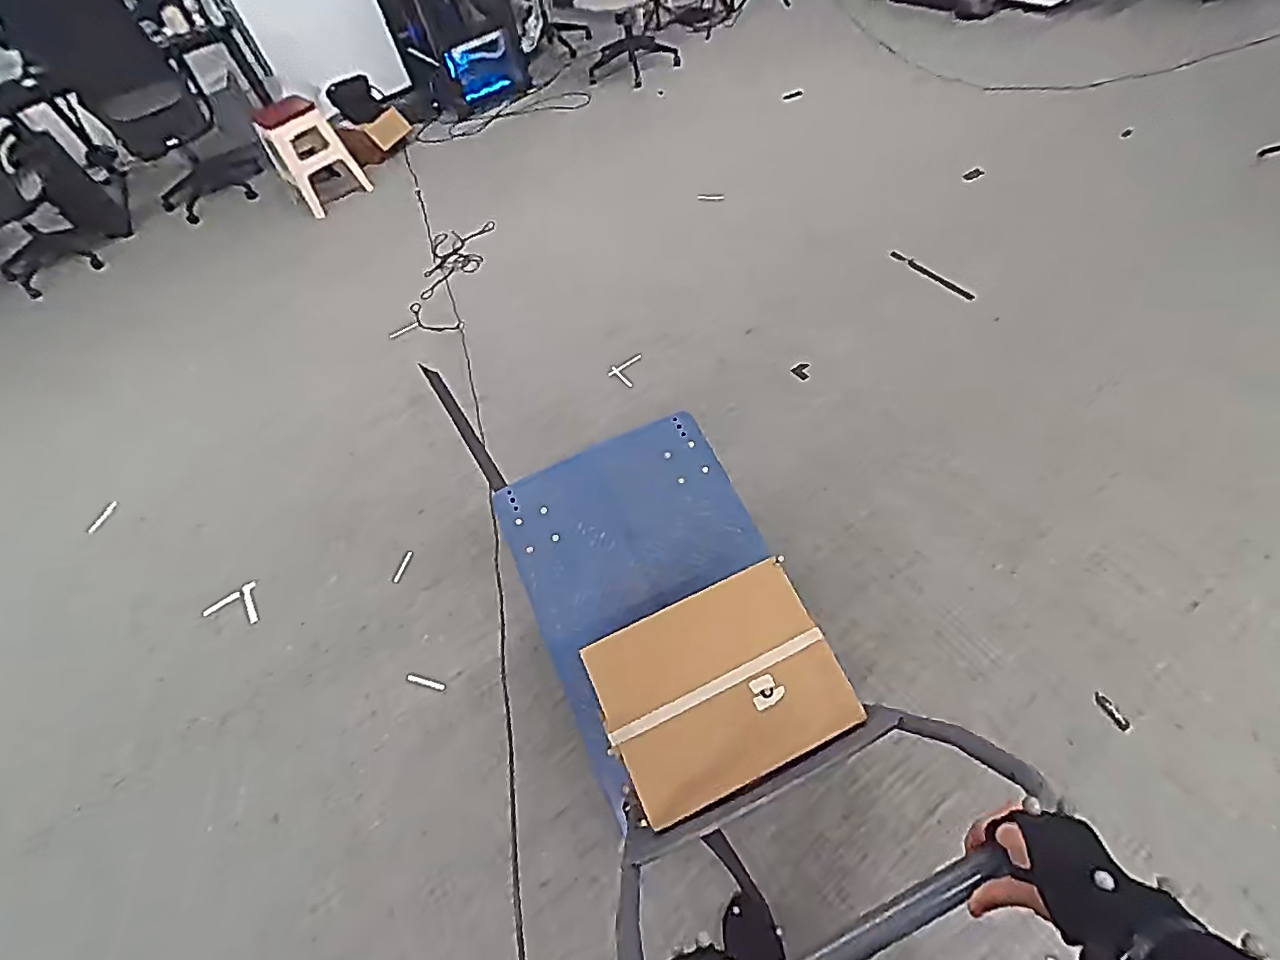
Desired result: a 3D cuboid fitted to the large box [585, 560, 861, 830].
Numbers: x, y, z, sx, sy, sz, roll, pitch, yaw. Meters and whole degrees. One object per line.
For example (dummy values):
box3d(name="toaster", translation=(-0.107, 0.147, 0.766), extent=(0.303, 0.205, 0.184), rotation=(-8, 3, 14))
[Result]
box3d(name="large box", translation=(0.145, 0.418, 1.093), extent=(0.408, 0.320, 0.320), rotation=(-25, 70, -8))
